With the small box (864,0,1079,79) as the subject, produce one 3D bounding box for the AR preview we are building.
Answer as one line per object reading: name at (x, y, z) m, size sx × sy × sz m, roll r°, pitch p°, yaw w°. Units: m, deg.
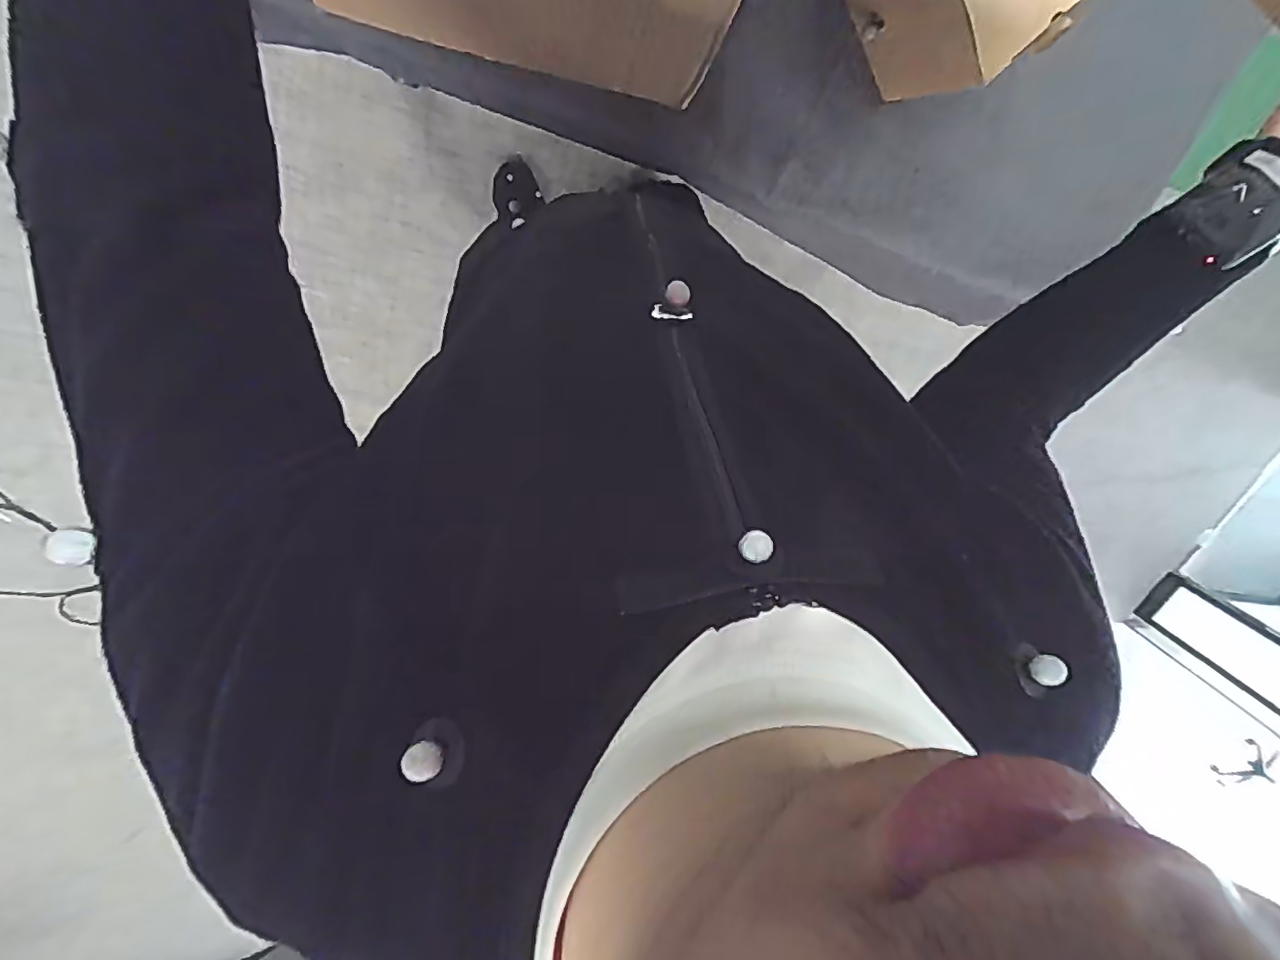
small box at (0.342, -0.548, 0.547) m, size 0.168 × 0.176 × 0.179 m, roll -37°, pitch 123°, yaw 11°
